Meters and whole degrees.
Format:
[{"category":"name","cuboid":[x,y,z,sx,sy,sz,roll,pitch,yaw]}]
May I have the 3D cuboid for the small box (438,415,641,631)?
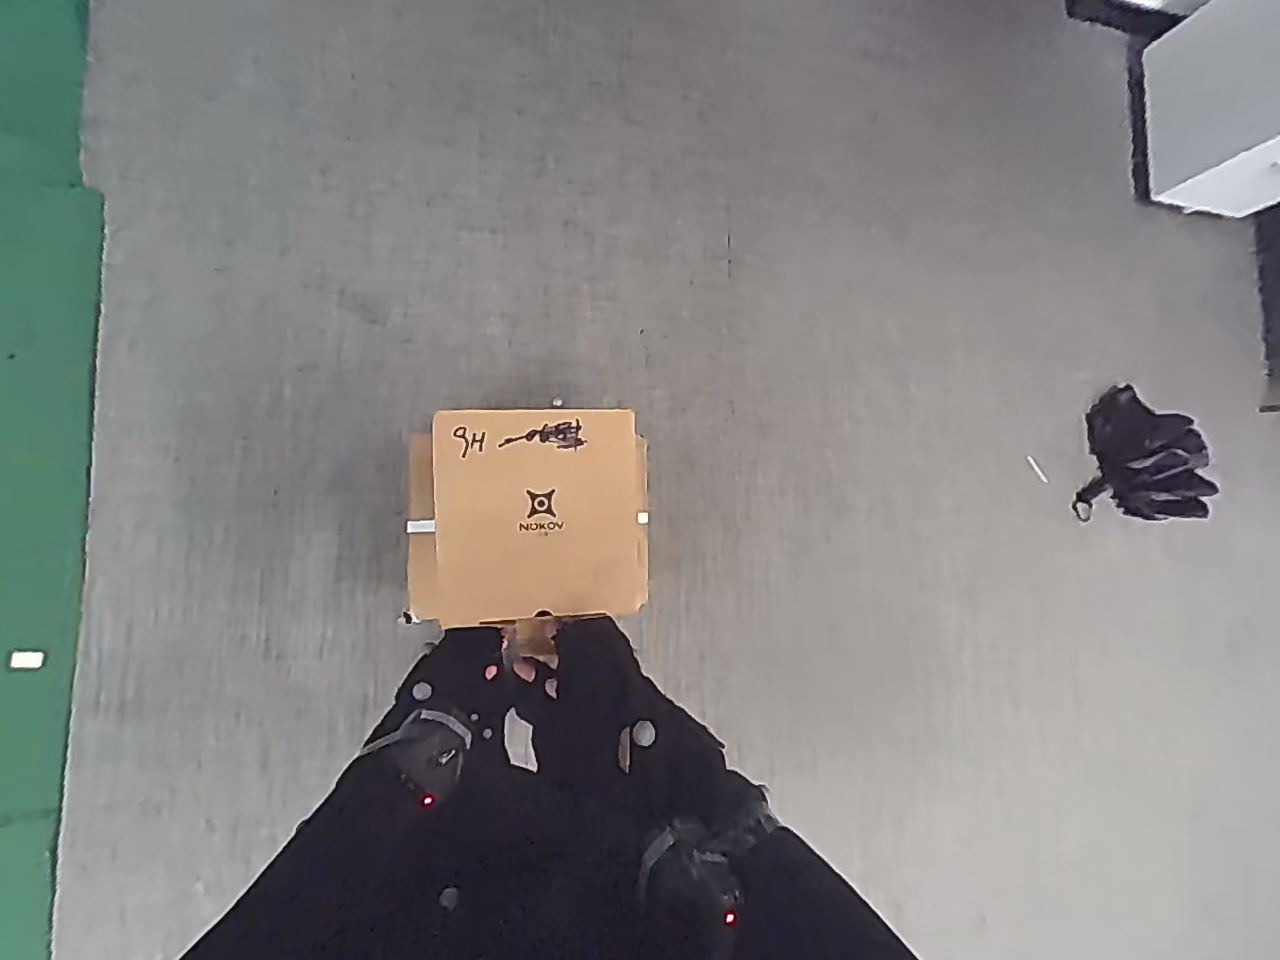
[{"category":"small box","cuboid":[-0.096,0.034,0.528,0.168,0.176,0.179,-2,89,-12]}]
